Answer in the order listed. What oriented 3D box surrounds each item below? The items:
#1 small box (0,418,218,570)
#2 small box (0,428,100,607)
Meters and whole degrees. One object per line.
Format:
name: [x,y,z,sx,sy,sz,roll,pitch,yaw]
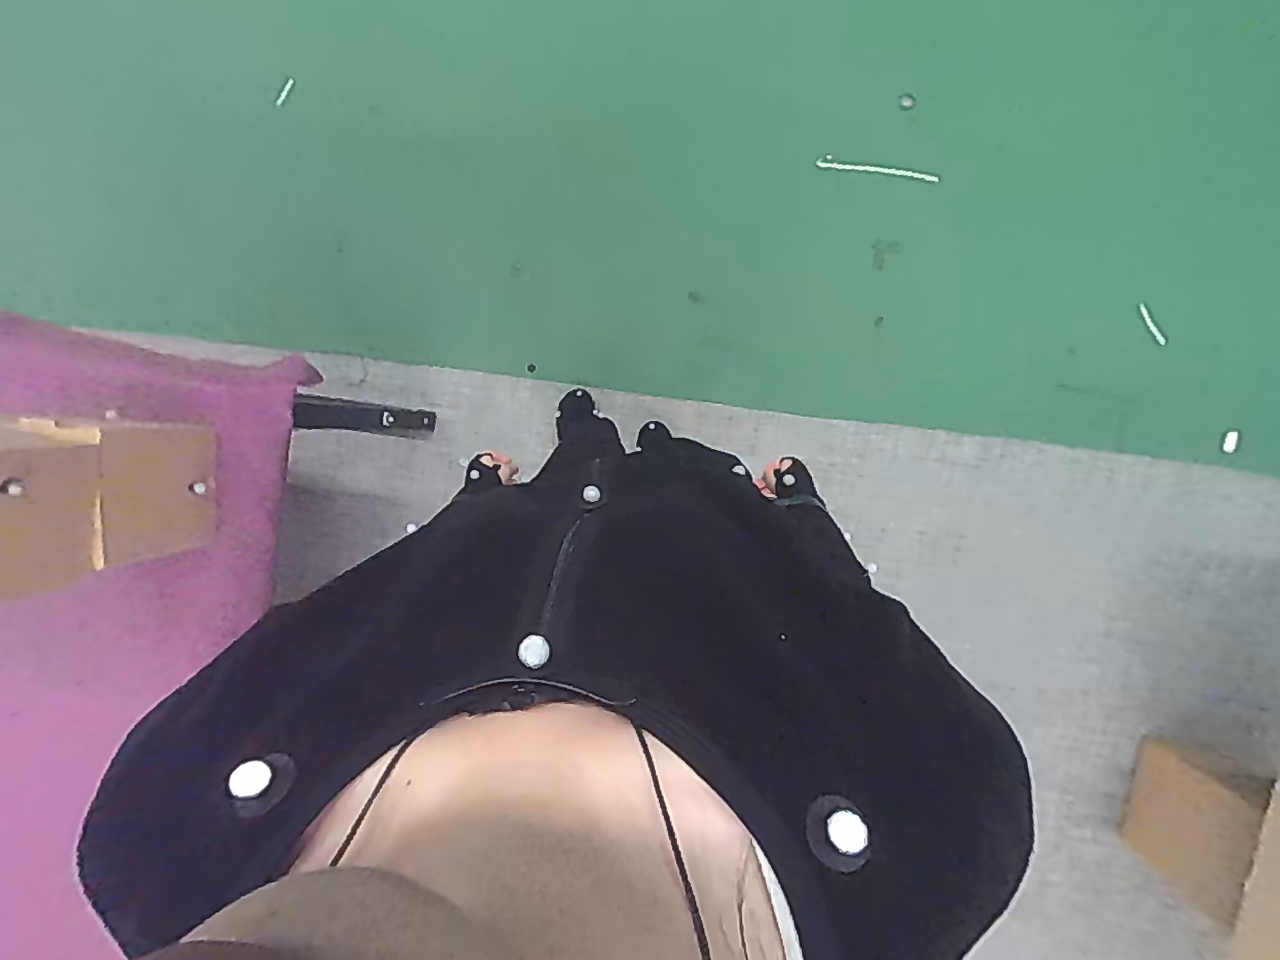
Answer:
small box: [-0.716,0.011,0.735,0.168,0.176,0.179,5,95,3]
small box: [-0.735,0.035,0.574,0.168,0.176,0.179,10,96,2]
